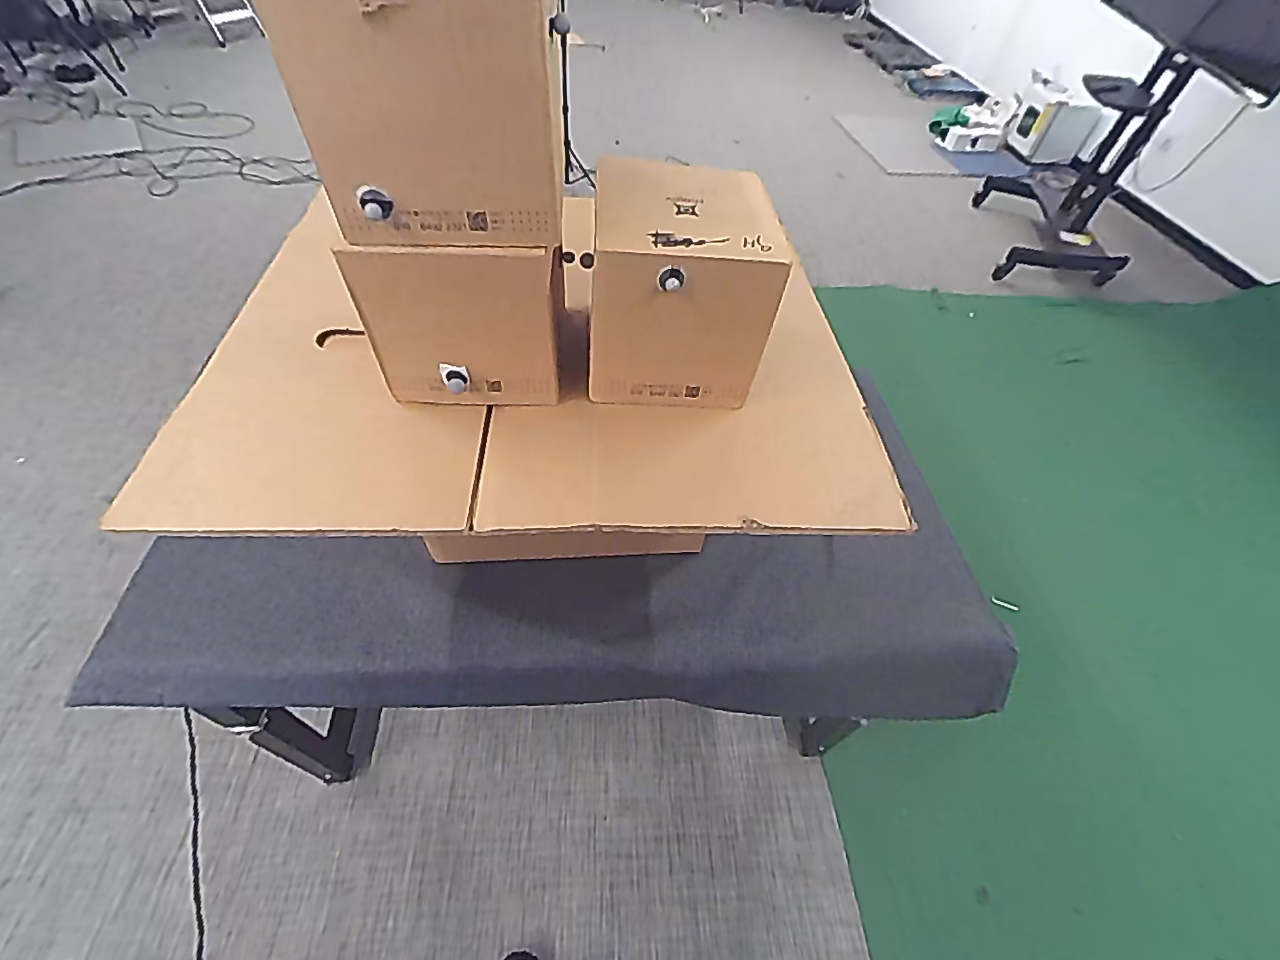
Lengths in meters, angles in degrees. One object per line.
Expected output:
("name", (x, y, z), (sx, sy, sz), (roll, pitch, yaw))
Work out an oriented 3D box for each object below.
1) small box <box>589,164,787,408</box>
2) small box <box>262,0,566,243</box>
("small box", (0.033, -0.199, 0.564), (0.168, 0.176, 0.179), (2, 50, -6))
("small box", (-0.147, -0.305, 0.425), (0.168, 0.176, 0.179), (-1, 50, -4))
